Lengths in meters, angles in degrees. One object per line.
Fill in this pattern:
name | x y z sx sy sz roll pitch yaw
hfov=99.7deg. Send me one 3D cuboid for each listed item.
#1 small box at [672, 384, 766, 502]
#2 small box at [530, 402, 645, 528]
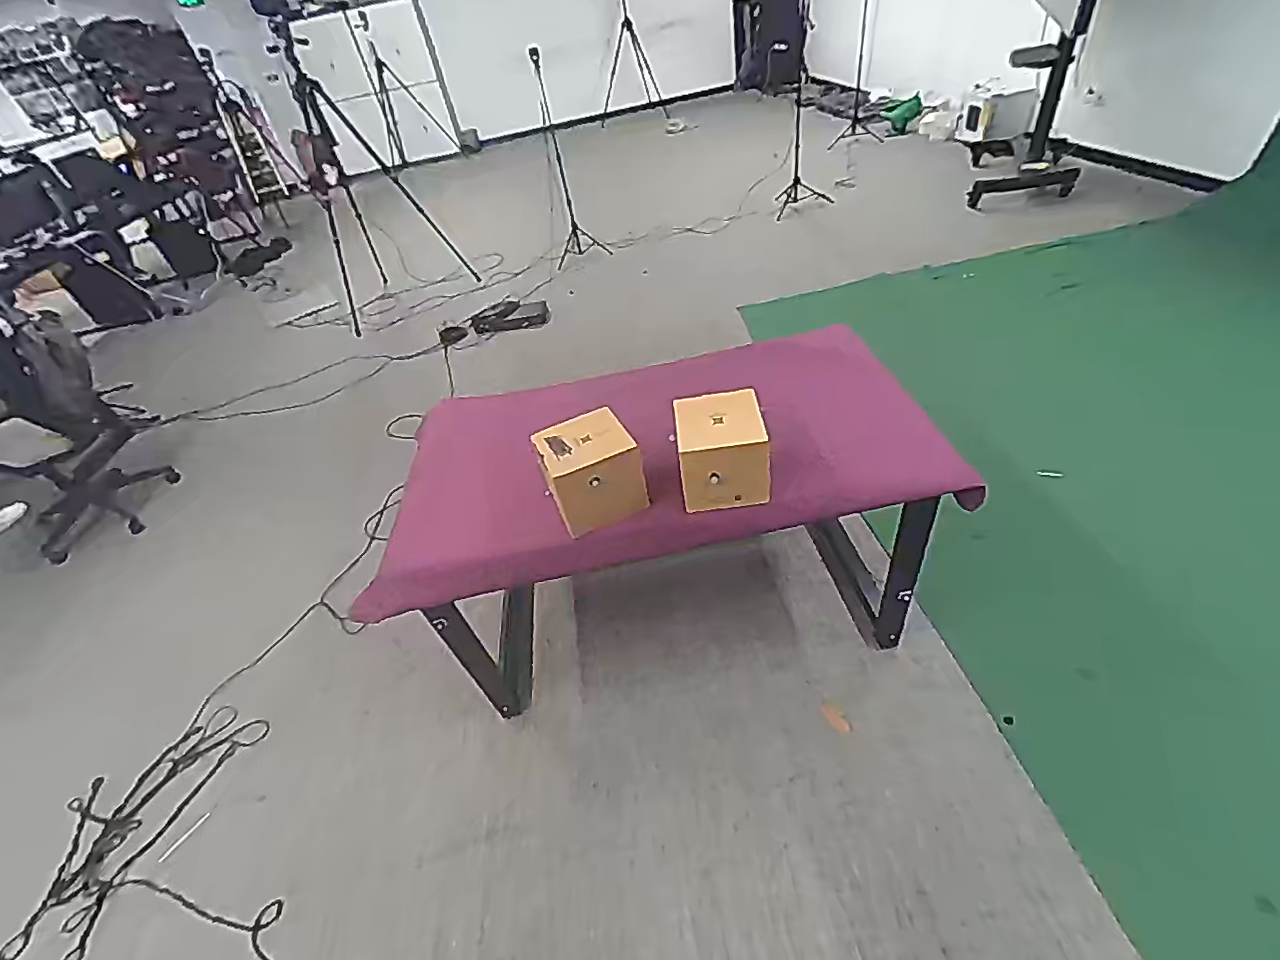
small box | 0.160 -0.069 1.099 0.168 0.176 0.179 -8 42 6
small box | -0.105 -0.030 1.116 0.179 0.176 0.168 -22 42 -12
